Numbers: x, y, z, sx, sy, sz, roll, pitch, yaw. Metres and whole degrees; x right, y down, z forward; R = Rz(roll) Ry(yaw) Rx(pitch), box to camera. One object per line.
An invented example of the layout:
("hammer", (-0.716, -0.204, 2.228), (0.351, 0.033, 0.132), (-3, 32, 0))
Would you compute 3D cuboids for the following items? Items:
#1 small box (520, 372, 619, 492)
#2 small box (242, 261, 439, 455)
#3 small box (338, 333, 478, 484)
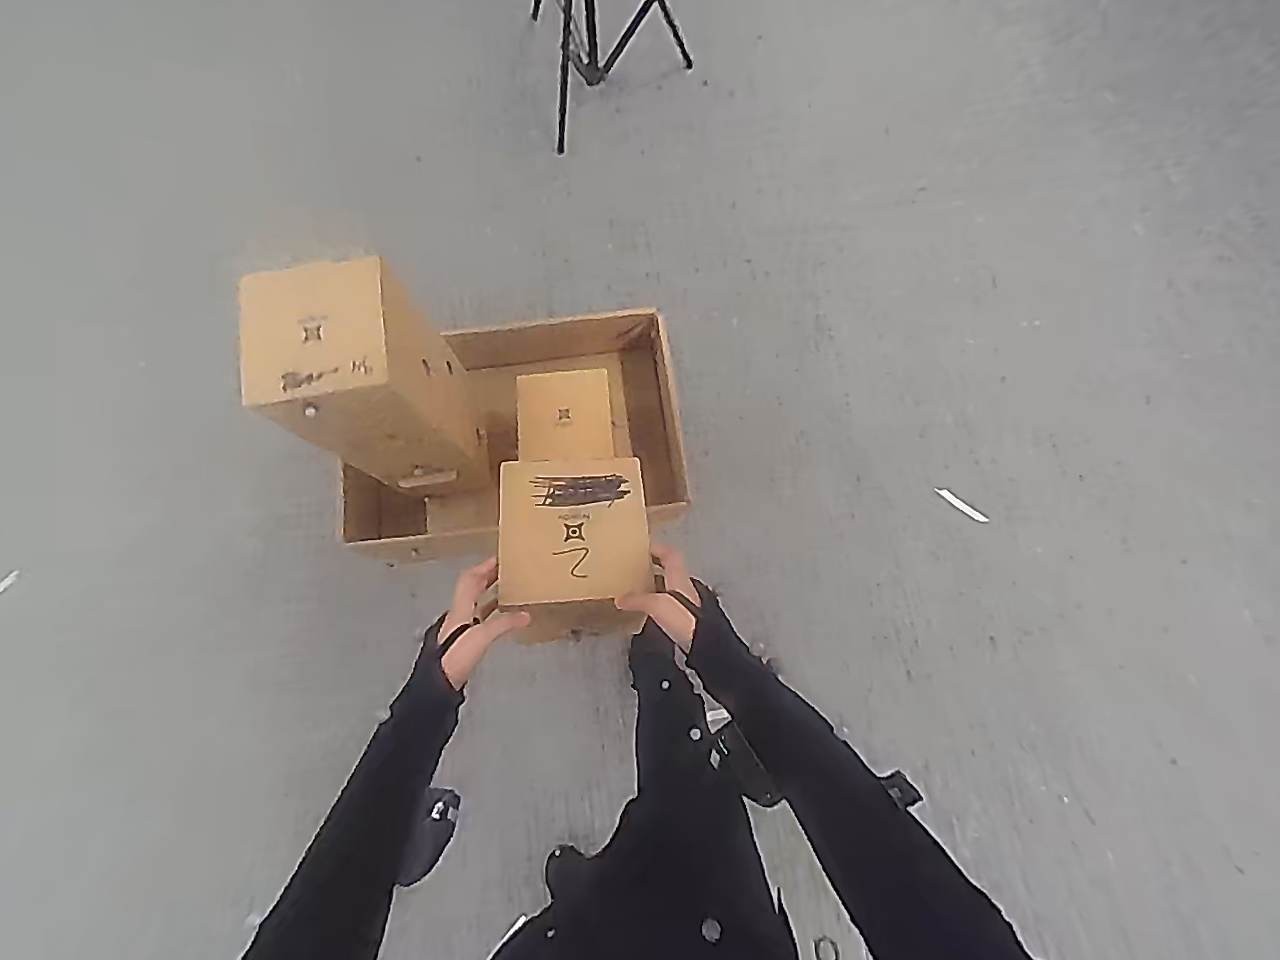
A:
("small box", (-0.130, -0.085, 1.028), (0.168, 0.176, 0.179), (-5, 76, 0))
("small box", (-0.375, -0.150, 0.704), (0.168, 0.176, 0.179), (-10, 74, -2))
("small box", (-0.368, -0.107, 0.864), (0.168, 0.176, 0.179), (-10, 76, -2))
